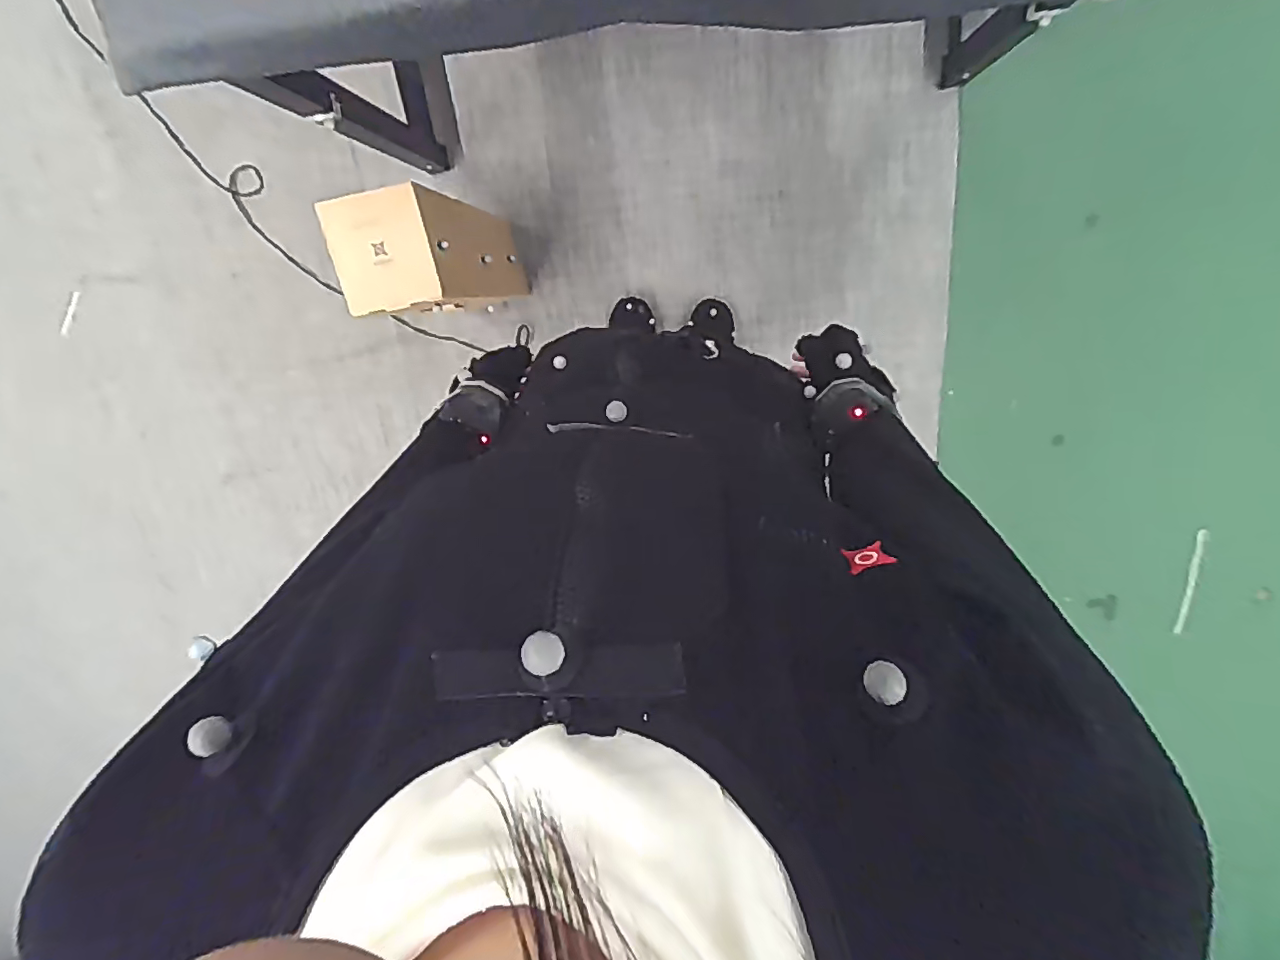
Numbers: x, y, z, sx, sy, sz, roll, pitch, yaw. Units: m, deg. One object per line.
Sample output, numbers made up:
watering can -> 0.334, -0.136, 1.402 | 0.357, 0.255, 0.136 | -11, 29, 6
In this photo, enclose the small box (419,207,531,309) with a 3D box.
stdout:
small box -> -0.368, -0.500, 1.238 | 0.168, 0.176, 0.179 | -12, 109, 9
